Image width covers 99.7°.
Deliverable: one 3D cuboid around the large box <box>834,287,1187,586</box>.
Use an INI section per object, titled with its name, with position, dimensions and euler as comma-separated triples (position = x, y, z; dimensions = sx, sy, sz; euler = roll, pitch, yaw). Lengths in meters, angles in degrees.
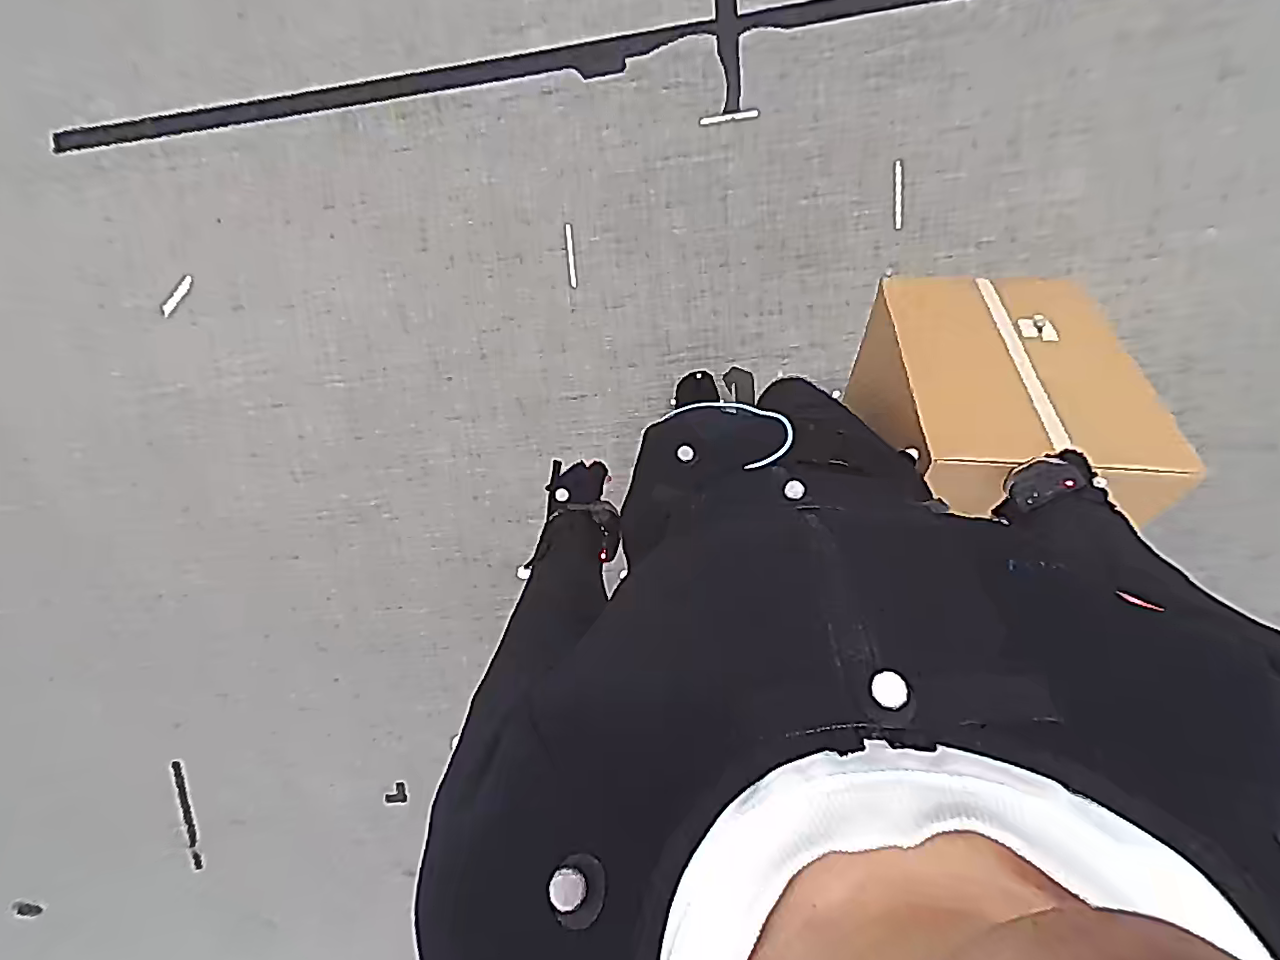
[large box]
position = 0.540, -0.074, 0.907
dimensions = 0.320, 0.408, 0.320
euler = 4, 140, 4
